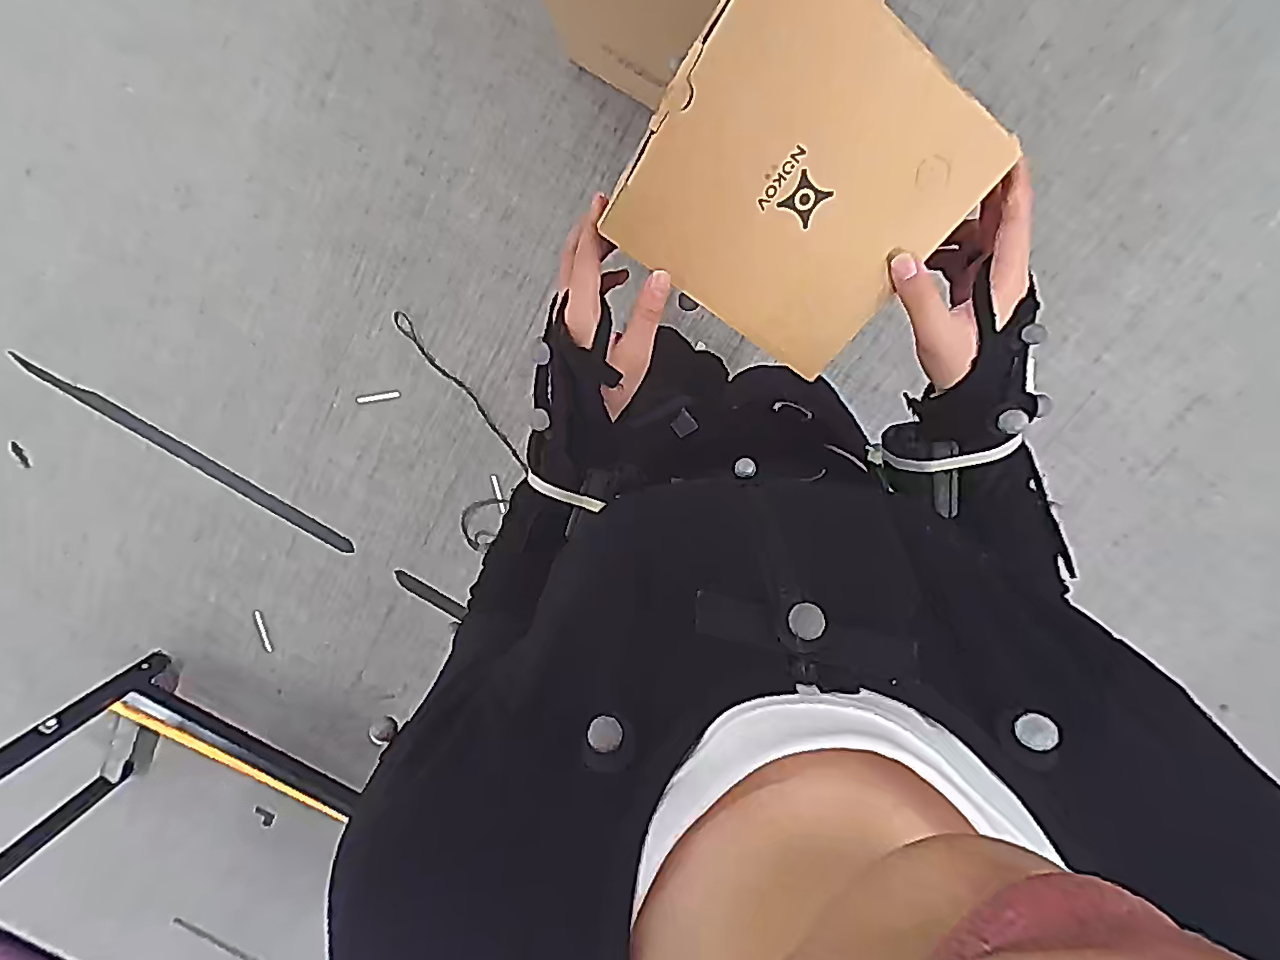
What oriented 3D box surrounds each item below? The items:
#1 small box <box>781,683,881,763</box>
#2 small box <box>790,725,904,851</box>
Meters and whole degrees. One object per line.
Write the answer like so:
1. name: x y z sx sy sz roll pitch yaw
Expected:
1. small box: 0.506 0.687 1.461 0.179 0.176 0.168 31 106 -2
2. small box: 0.489 0.733 1.304 0.179 0.176 0.168 29 106 -2
